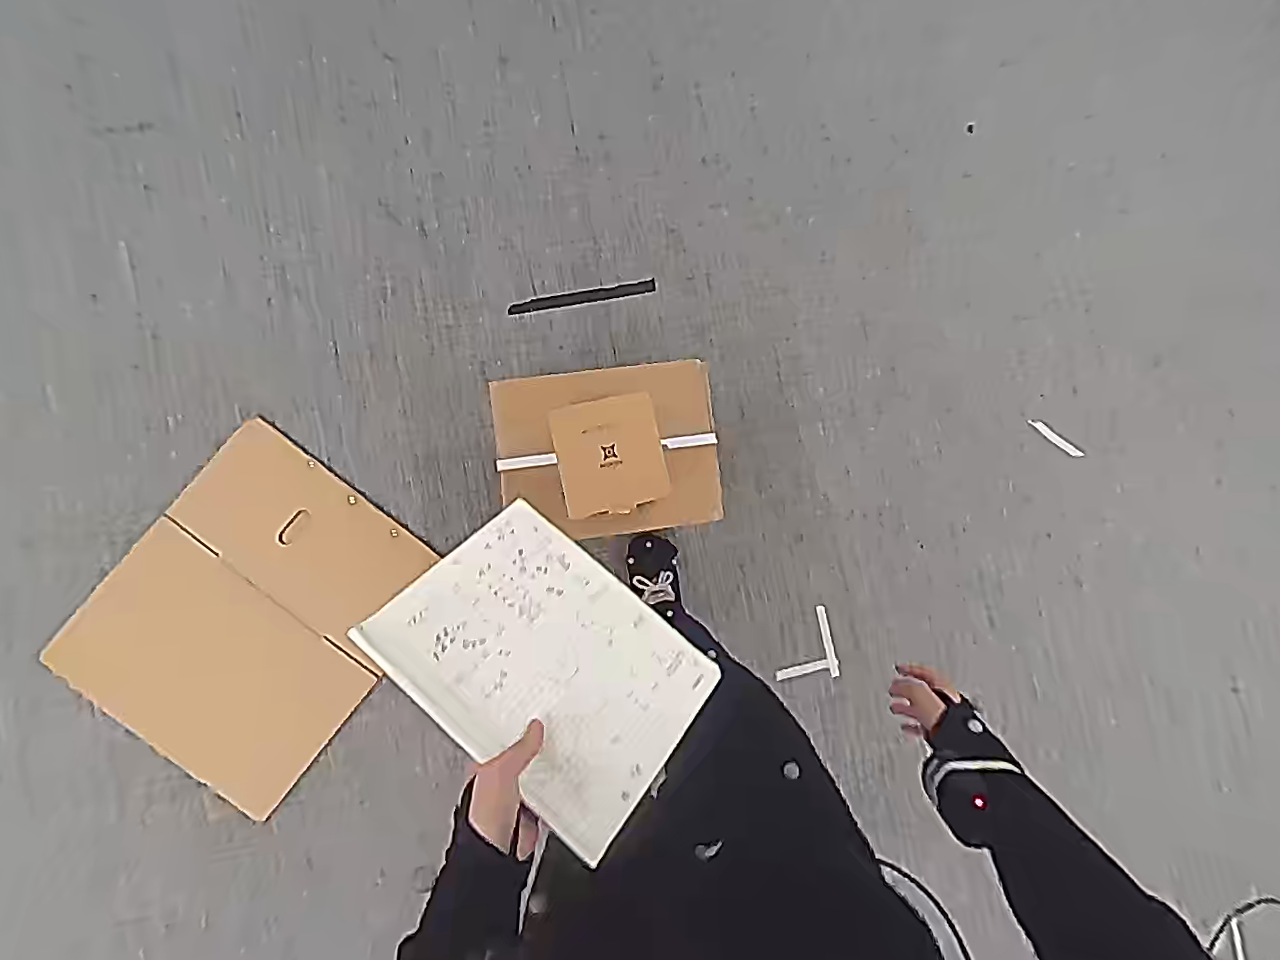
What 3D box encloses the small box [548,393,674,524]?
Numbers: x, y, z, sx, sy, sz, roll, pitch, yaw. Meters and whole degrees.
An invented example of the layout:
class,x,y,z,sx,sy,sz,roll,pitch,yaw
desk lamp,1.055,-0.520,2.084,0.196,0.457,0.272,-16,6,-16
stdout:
class,x,y,z,sx,sy,sz,roll,pitch,yaw
small box,-0.050,-0.031,0.903,0.168,0.176,0.179,-13,88,-6
